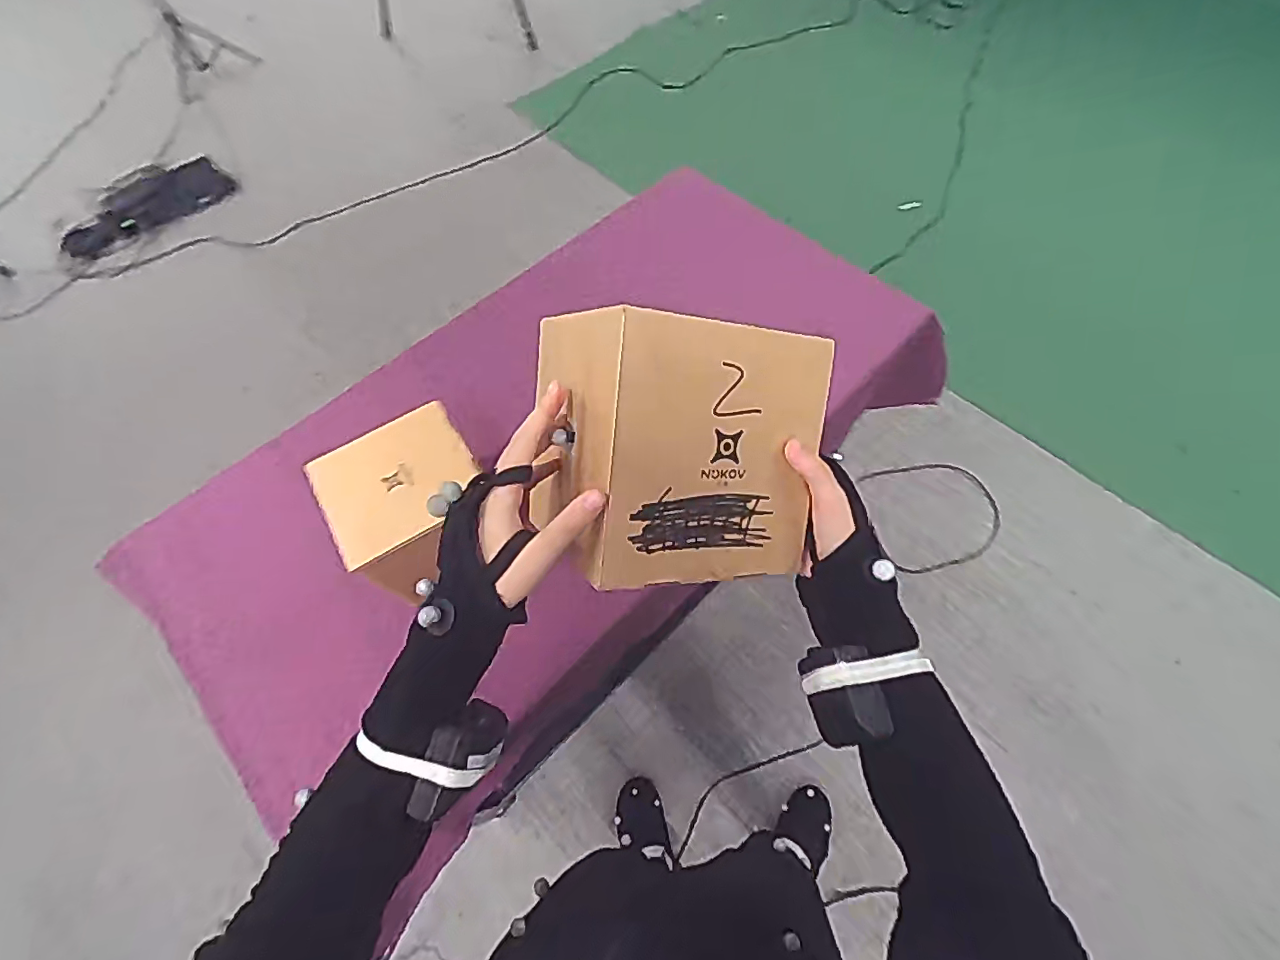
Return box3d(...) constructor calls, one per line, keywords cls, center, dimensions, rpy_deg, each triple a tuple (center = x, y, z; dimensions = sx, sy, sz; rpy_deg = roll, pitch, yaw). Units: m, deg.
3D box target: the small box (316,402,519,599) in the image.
box3d(cls="small box", center=(-0.289, 0.035, 0.733), dimensions=(0.179, 0.176, 0.168), rpy_deg=(-31, 65, -14))
